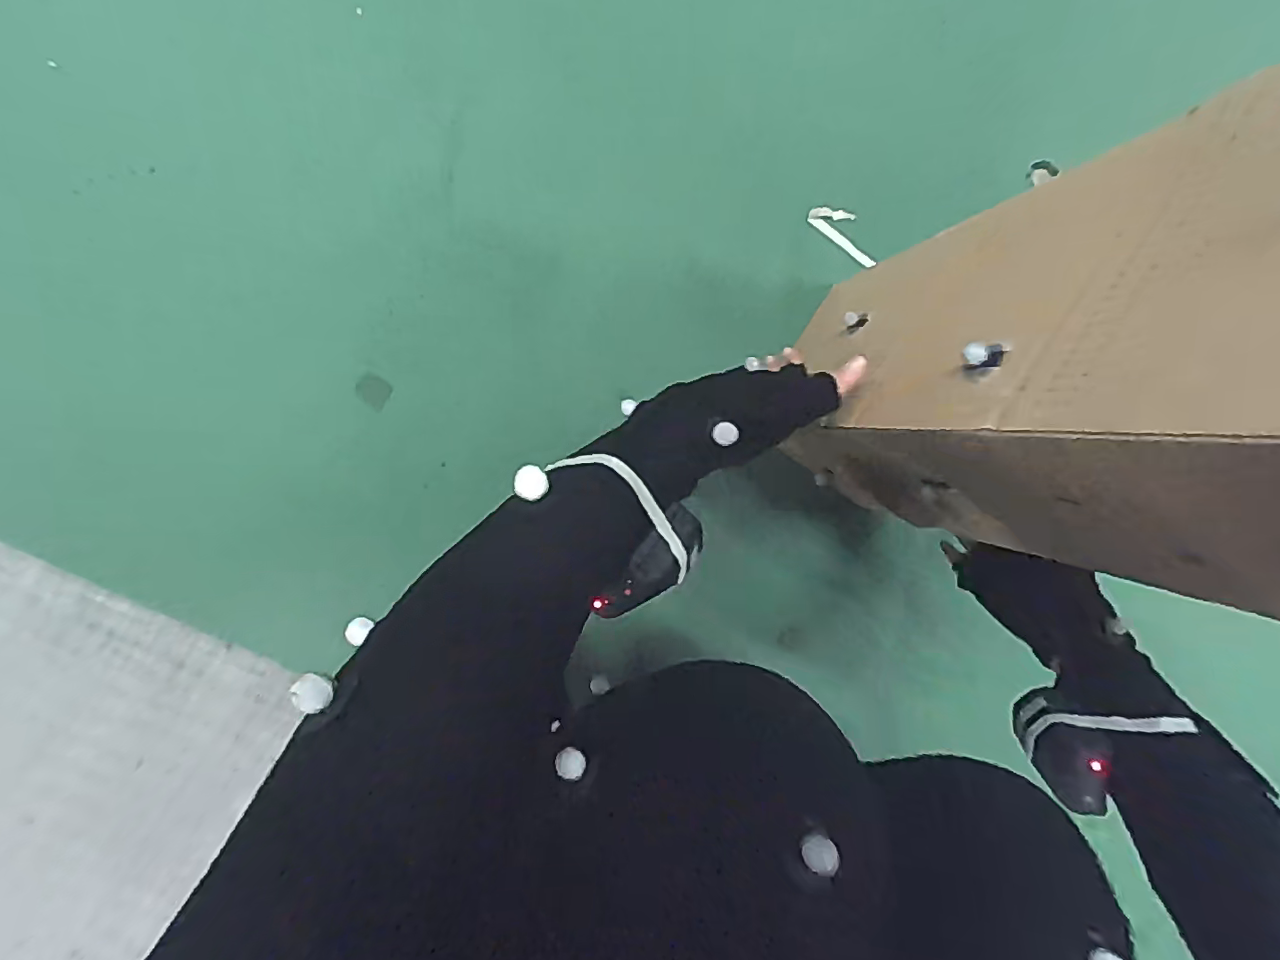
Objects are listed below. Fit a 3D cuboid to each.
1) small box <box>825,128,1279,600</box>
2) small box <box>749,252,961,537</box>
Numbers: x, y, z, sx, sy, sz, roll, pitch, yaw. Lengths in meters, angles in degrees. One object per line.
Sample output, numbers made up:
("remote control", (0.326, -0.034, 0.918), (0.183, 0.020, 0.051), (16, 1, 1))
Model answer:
("small box", (0.253, -0.060, 0.344), (0.168, 0.176, 0.179), (32, 91, -11))
("small box", (0.229, -0.077, 0.505), (0.168, 0.176, 0.179), (34, 91, -11))
